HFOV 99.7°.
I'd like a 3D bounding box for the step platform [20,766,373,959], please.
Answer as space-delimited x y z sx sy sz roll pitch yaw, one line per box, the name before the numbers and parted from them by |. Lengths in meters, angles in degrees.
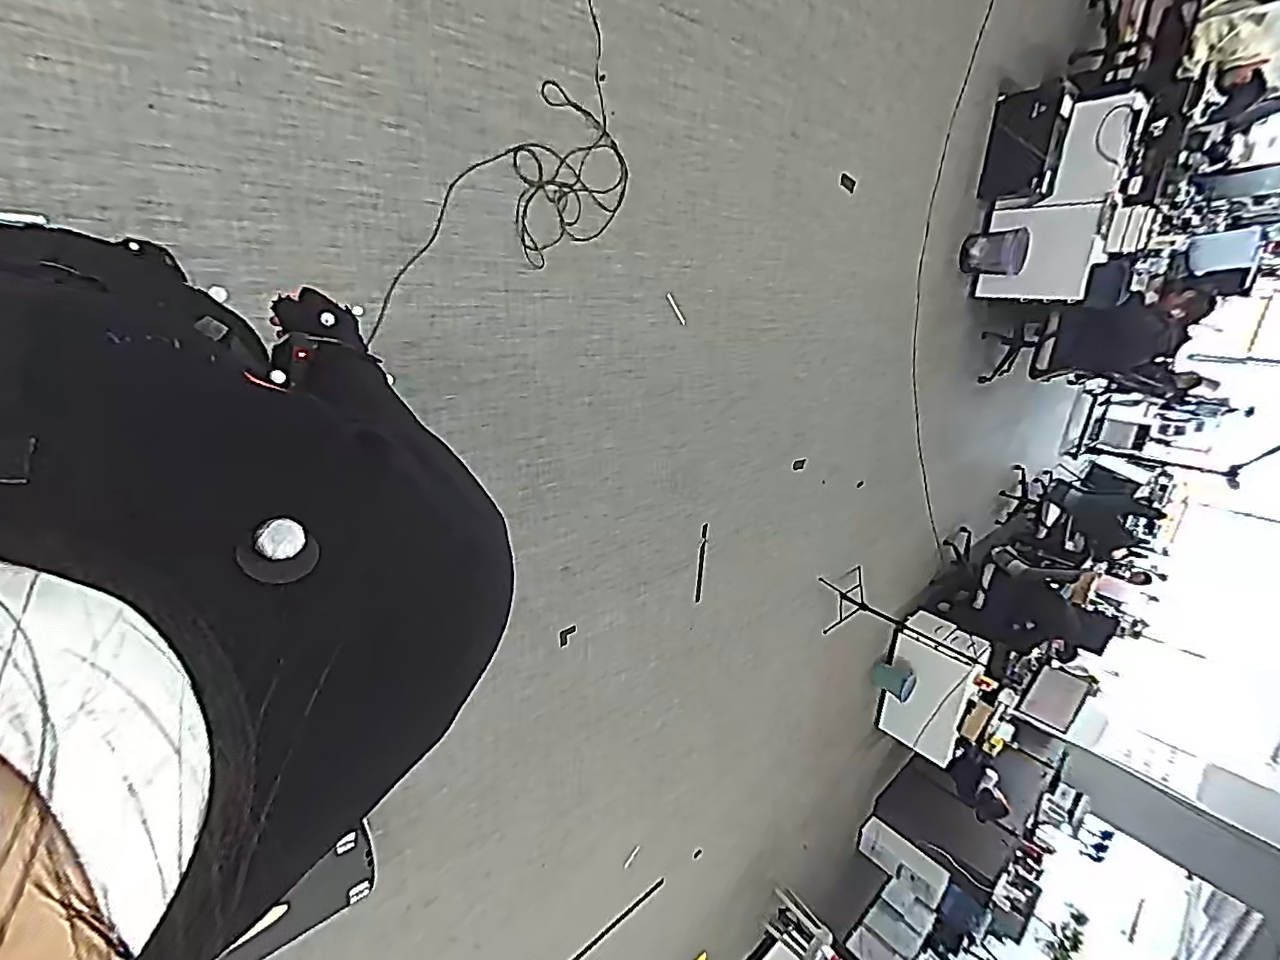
step platform | -1.063 1.055 1.382 0.684 0.204 0.286 -16 116 -37
